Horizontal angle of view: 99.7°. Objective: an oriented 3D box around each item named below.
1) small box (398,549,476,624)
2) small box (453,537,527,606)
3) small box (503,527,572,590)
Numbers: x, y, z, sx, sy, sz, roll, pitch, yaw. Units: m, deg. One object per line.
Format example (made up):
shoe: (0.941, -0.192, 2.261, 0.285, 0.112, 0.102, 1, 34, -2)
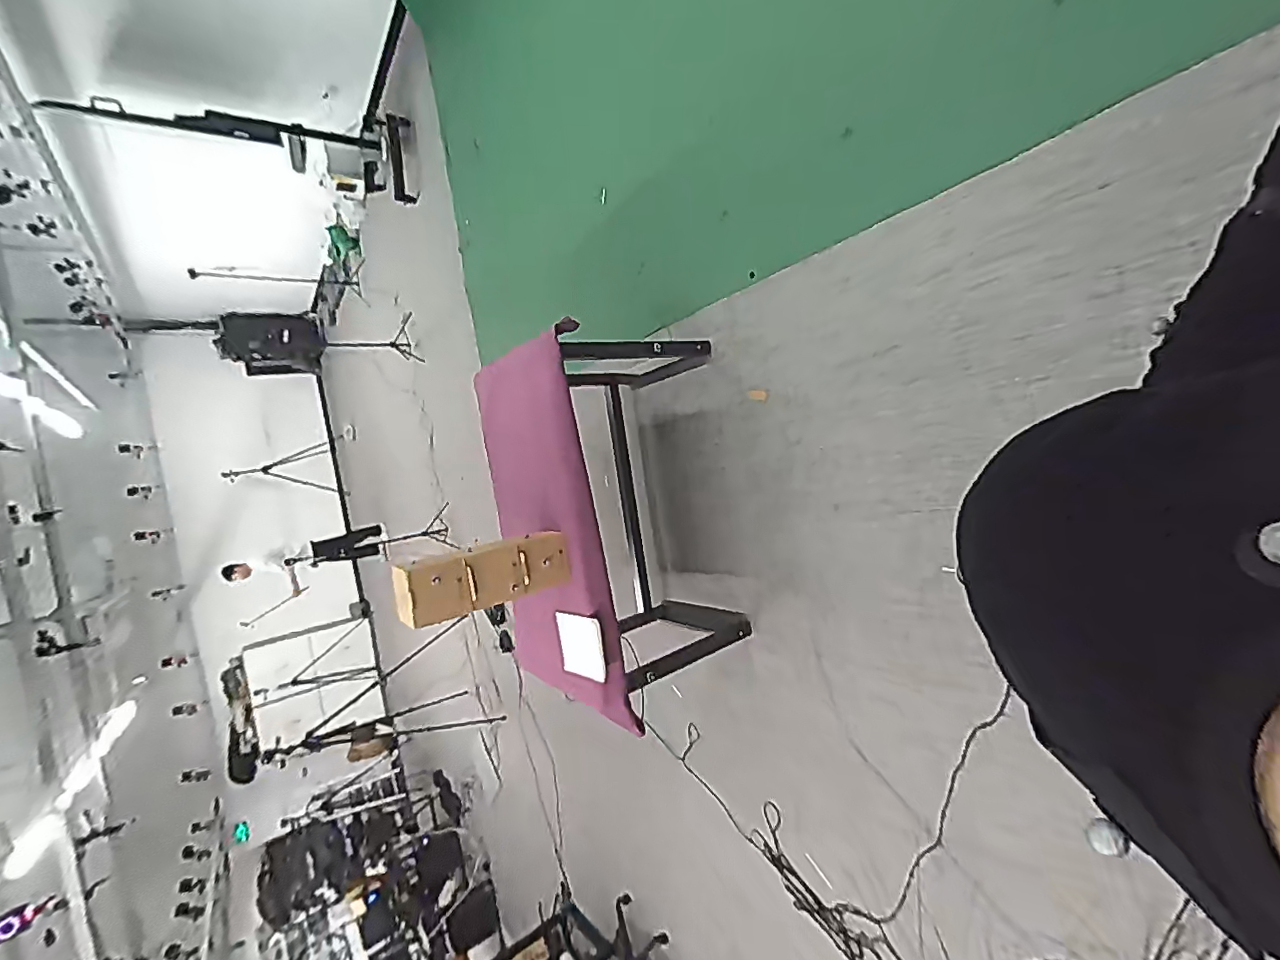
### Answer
small box: (-0.587, 0.301, 1.576, 0.179, 0.176, 0.168, -3, 96, 54)
small box: (-0.460, 0.276, 1.676, 0.179, 0.176, 0.168, -4, 95, 55)
small box: (-0.333, 0.251, 1.778, 0.179, 0.176, 0.168, -5, 94, 53)
